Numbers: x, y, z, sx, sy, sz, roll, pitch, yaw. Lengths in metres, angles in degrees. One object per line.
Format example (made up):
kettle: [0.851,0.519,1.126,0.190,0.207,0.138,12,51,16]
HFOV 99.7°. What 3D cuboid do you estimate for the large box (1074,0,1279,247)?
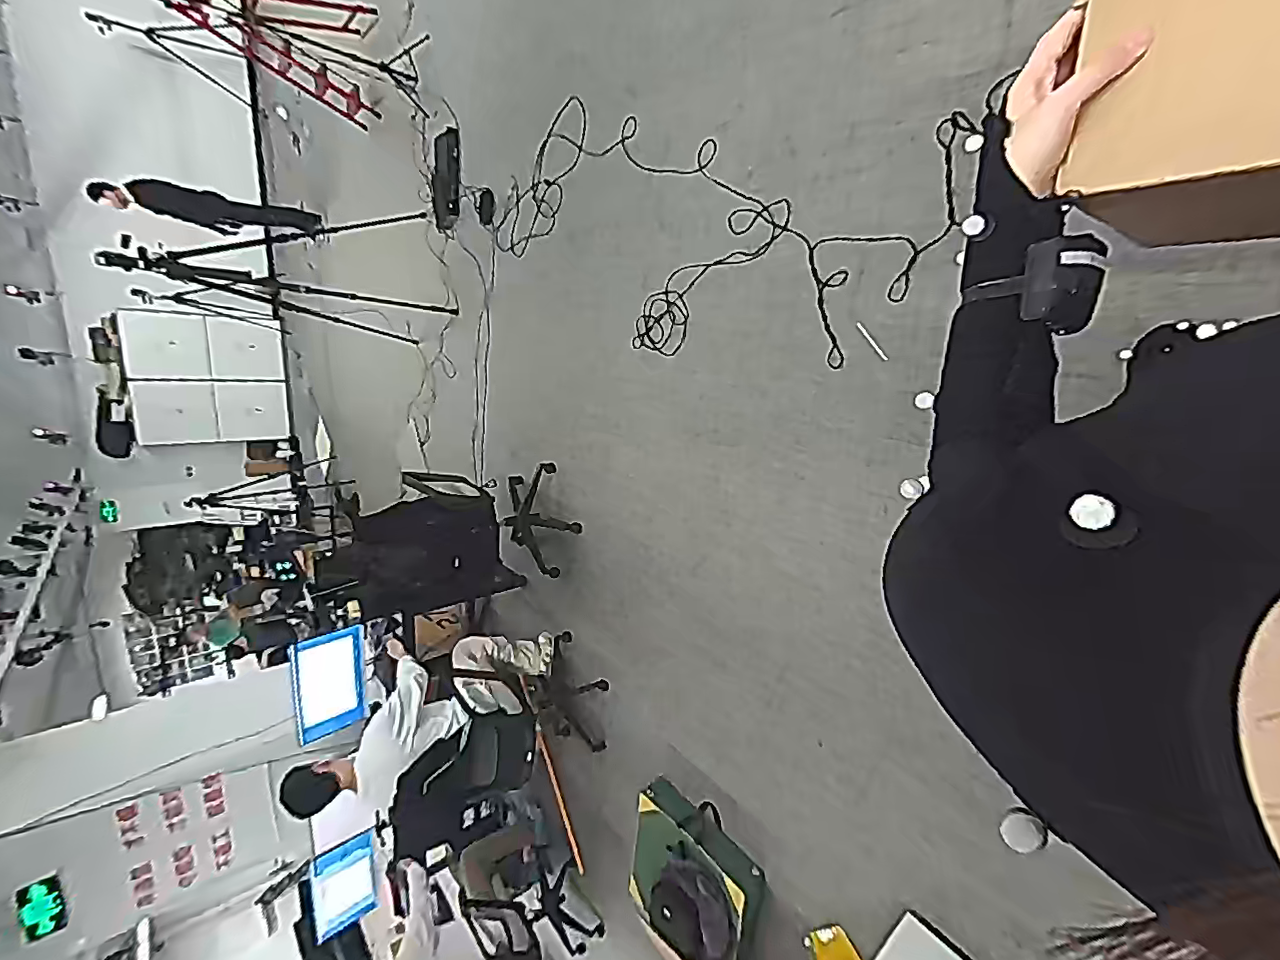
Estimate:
large box: [0.568,-0.351,0.325,0.408,0.320,0.320,16,111,47]
